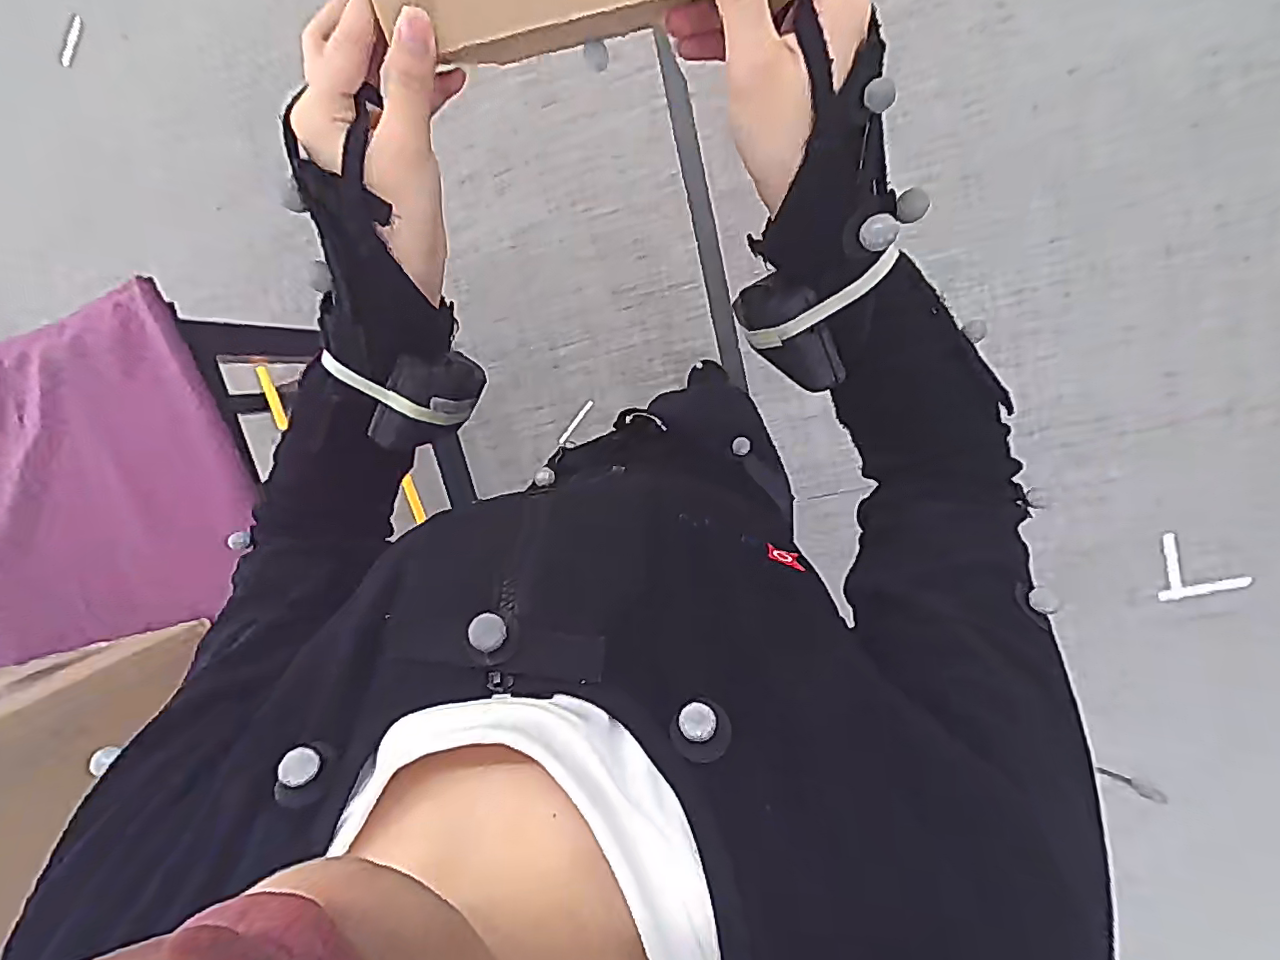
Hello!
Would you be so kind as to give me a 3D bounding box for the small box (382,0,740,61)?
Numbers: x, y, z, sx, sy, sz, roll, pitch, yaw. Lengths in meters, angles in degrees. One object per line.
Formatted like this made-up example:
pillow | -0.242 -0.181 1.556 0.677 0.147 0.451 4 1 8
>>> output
small box | -0.036 -0.316 0.248 0.168 0.176 0.179 -5 127 10
